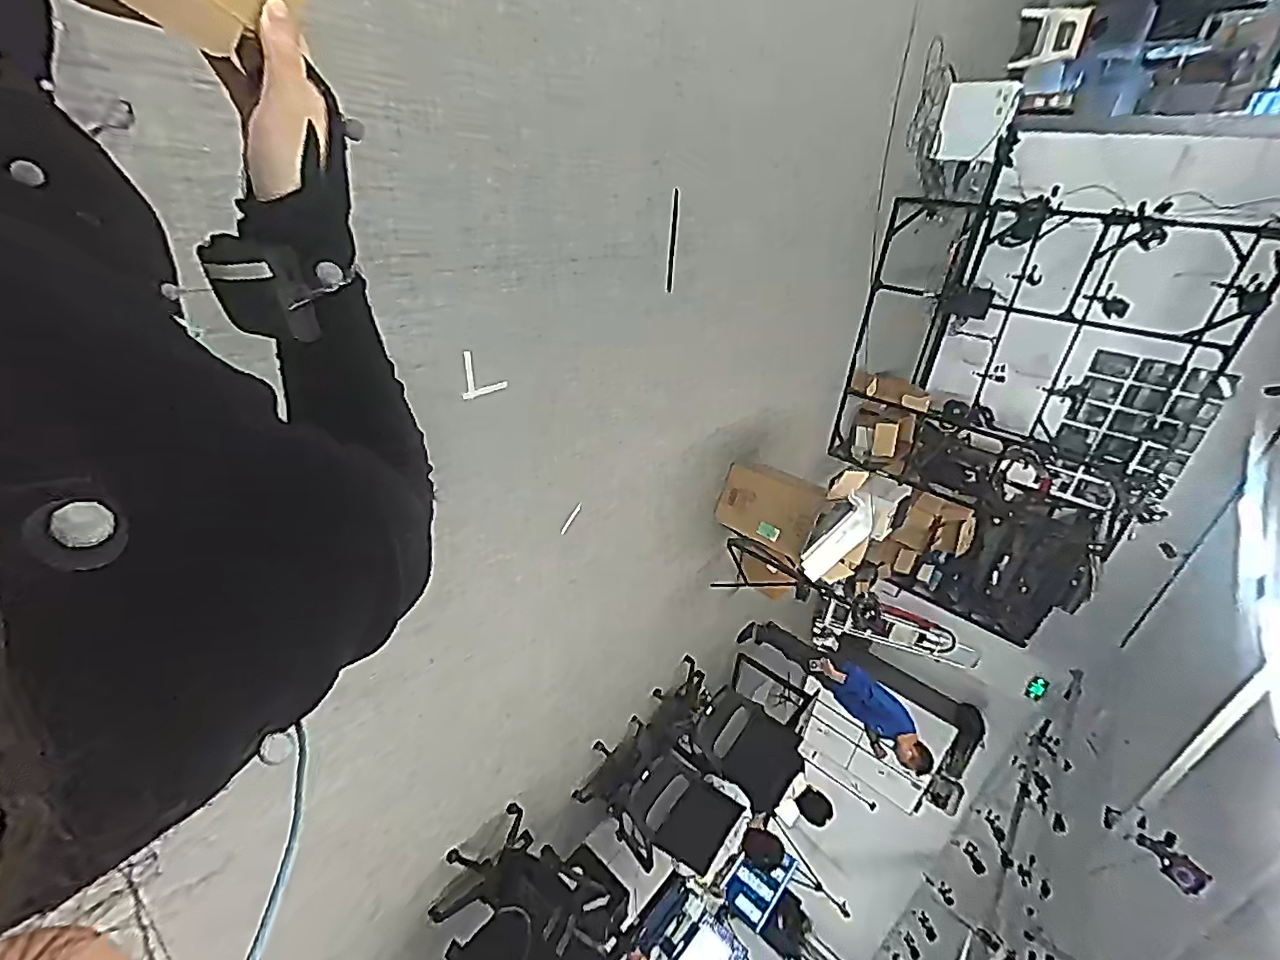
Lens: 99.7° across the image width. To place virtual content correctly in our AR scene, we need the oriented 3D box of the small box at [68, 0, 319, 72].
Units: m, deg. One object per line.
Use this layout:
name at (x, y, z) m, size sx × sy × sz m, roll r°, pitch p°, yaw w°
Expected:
small box at (-0.259, -0.325, 0.226) m, size 0.168 × 0.176 × 0.179 m, roll -32°, pitch 141°, yaw -73°
